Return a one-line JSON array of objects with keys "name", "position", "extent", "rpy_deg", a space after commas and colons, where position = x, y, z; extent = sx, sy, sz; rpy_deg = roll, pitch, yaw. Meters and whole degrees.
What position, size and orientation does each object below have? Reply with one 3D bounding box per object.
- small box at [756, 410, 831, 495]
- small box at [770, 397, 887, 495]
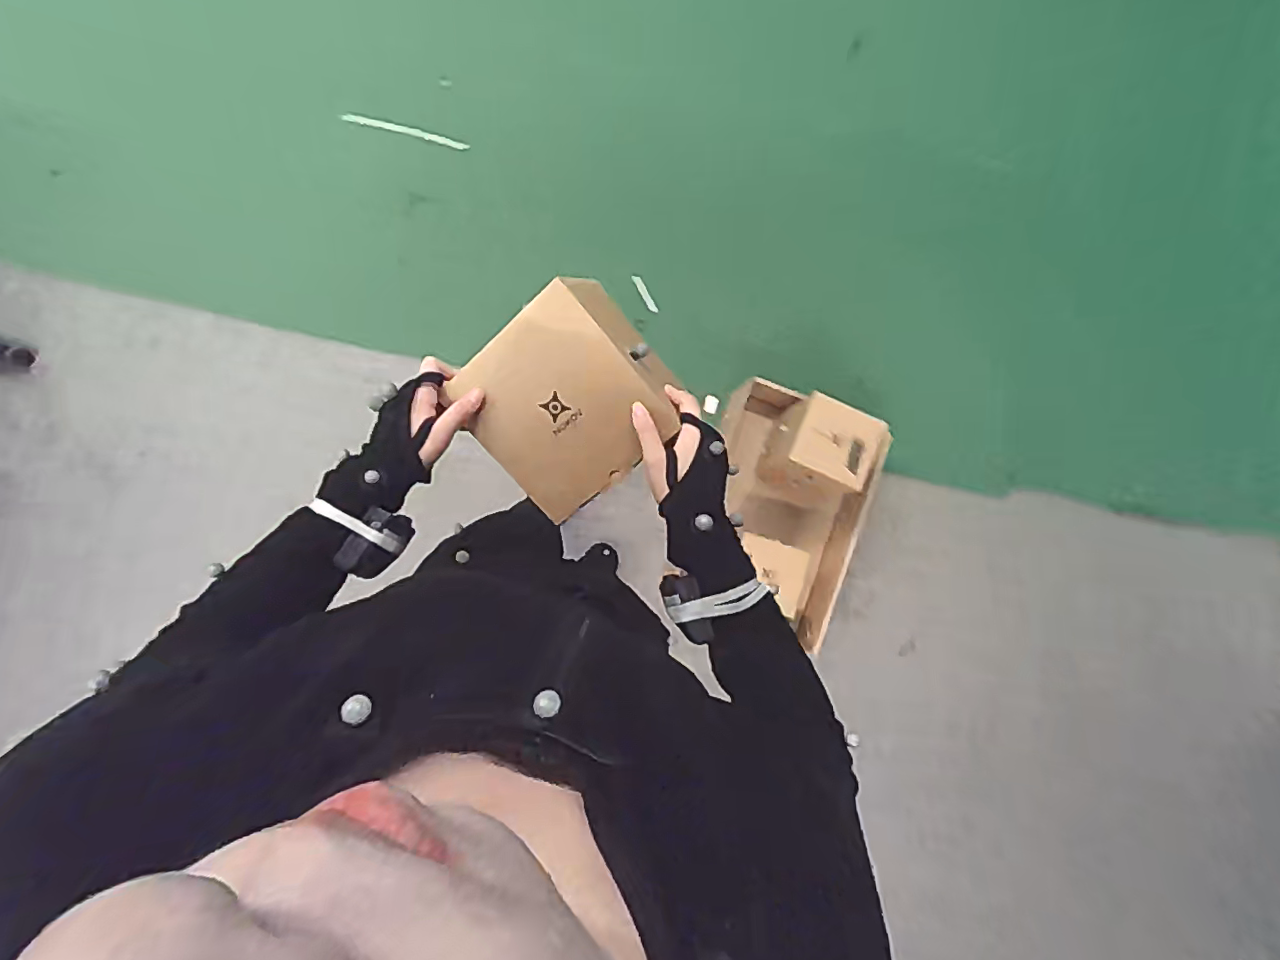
[{"name": "small box", "position": [0.426, -0.063, 1.425], "extent": [0.179, 0.176, 0.168], "rpy_deg": [23, 86, -1]}, {"name": "small box", "position": [0.430, -0.073, 1.262], "extent": [0.179, 0.176, 0.168], "rpy_deg": [25, 86, 0]}]
